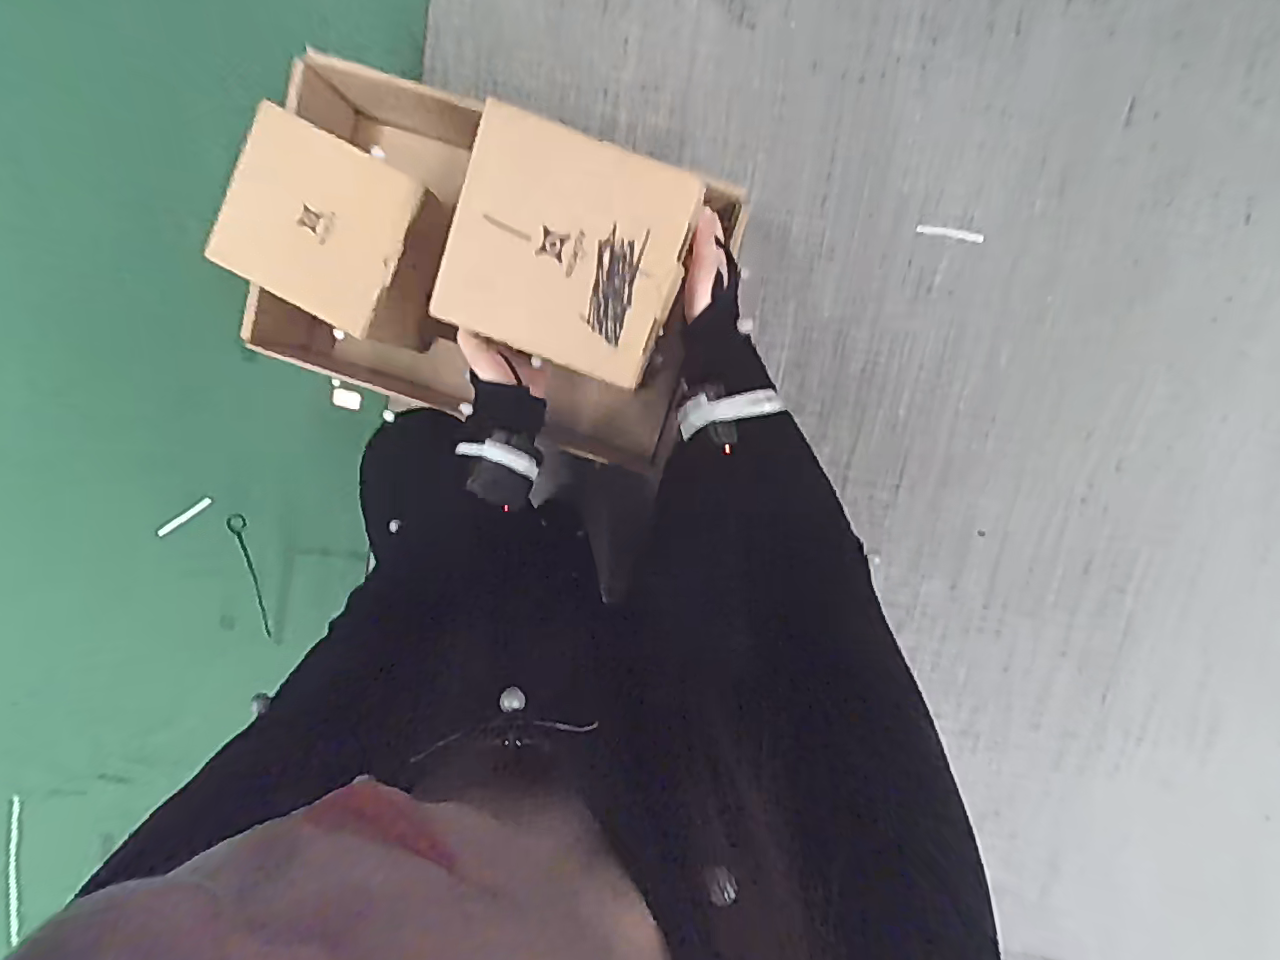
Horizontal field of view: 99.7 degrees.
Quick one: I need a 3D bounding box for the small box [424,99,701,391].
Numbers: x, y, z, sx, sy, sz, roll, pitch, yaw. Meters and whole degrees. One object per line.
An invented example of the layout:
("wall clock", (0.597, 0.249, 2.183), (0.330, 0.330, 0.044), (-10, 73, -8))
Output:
("small box", (-0.058, -0.192, 0.491), (0.179, 0.176, 0.168), (21, 102, 0))
